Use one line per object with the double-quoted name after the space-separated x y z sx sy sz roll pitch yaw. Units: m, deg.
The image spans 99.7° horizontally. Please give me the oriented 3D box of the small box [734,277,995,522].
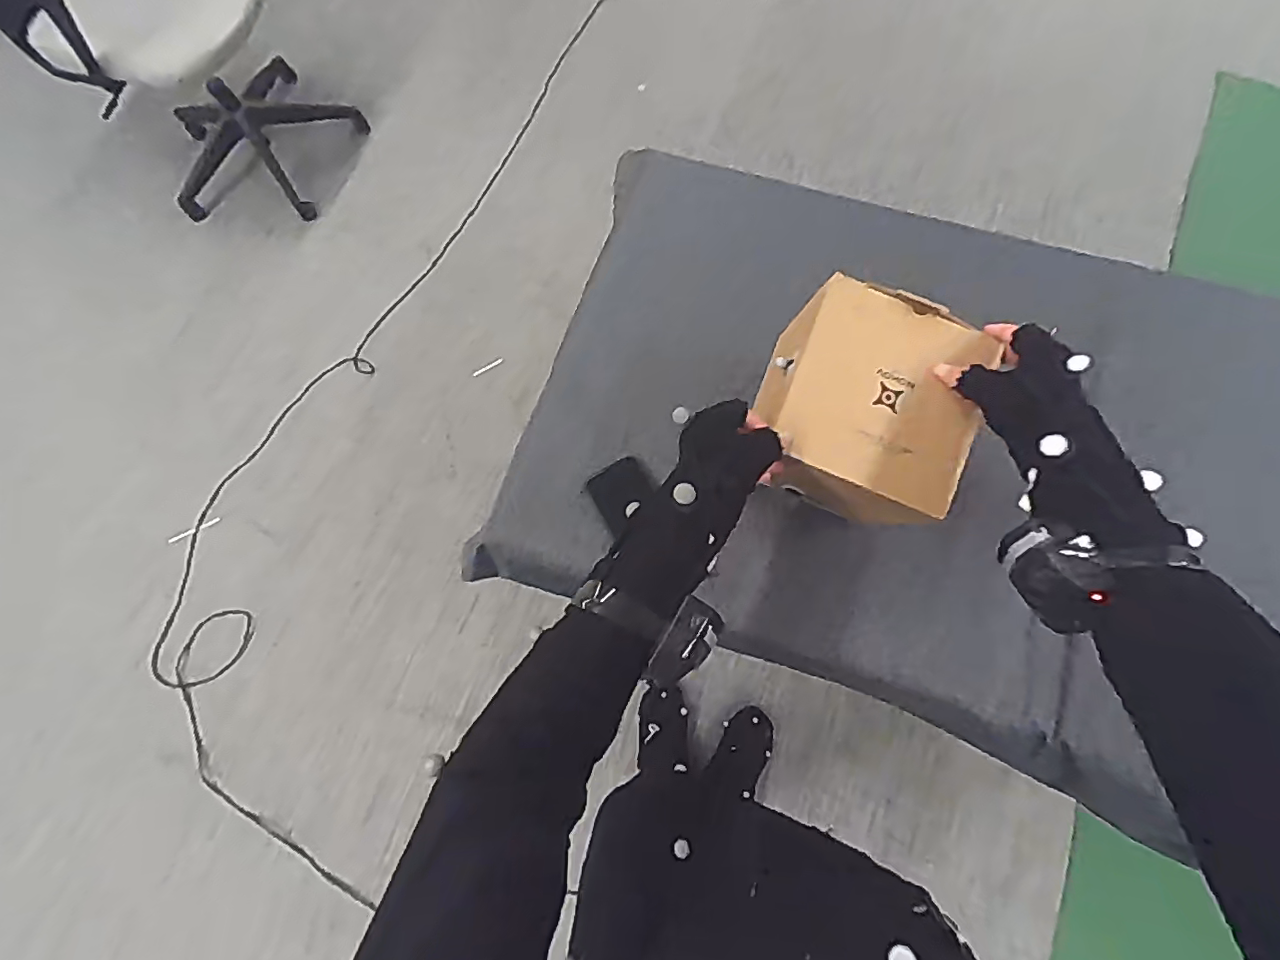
0.211 -0.067 0.556 0.168 0.176 0.179 22 84 1 "small box"
